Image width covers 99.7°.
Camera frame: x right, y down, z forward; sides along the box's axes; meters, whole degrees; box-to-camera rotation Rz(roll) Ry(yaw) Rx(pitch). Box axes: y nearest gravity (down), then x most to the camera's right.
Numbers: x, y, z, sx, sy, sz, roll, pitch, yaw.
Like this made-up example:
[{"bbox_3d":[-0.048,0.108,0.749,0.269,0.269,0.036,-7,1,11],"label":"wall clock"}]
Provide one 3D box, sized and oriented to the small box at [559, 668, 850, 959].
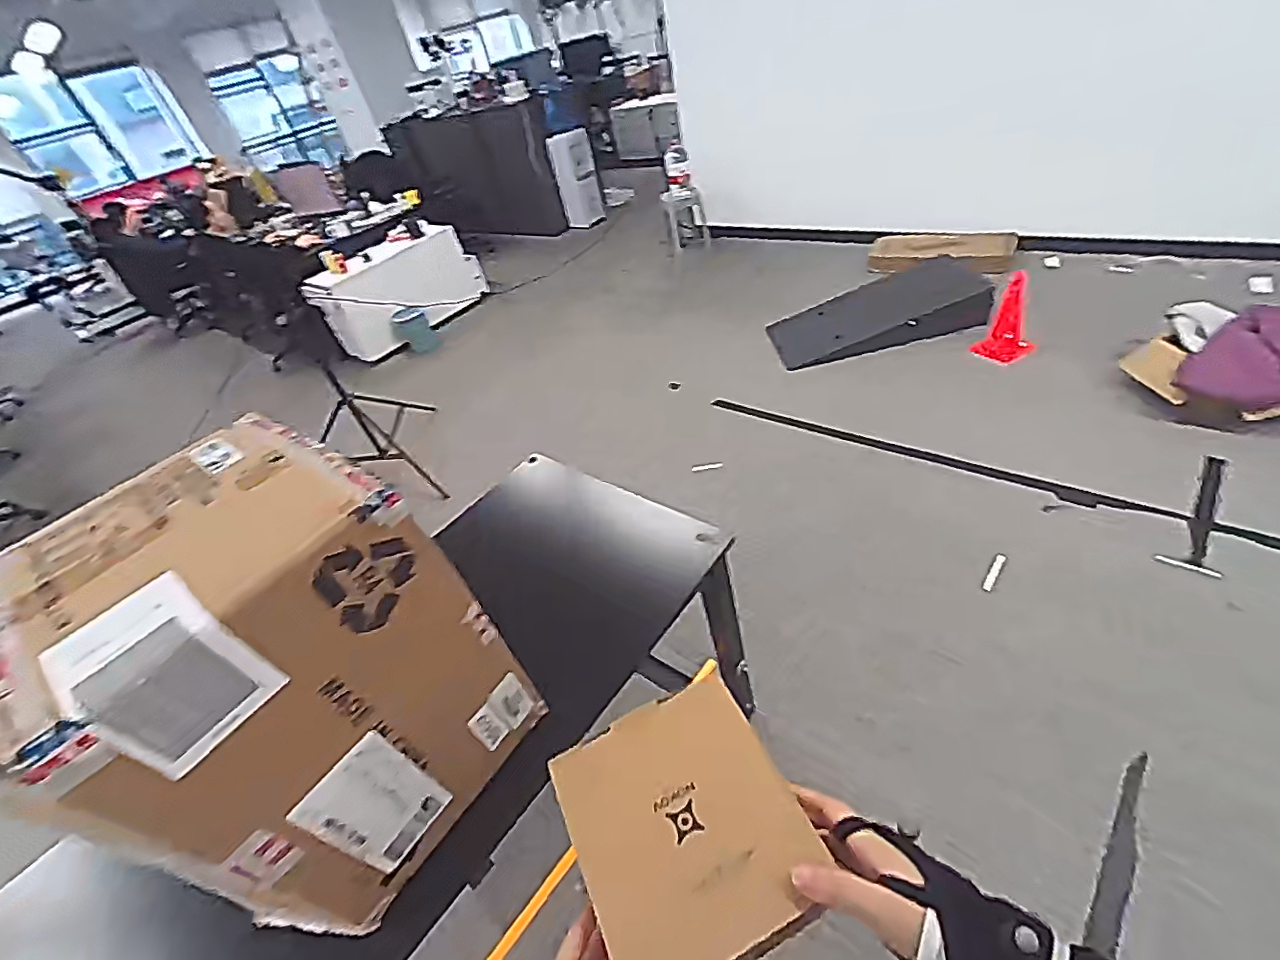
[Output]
[{"bbox_3d":[0.047,0.305,0.467,0.168,0.176,0.179,-23,47,-12],"label":"small box"}]
